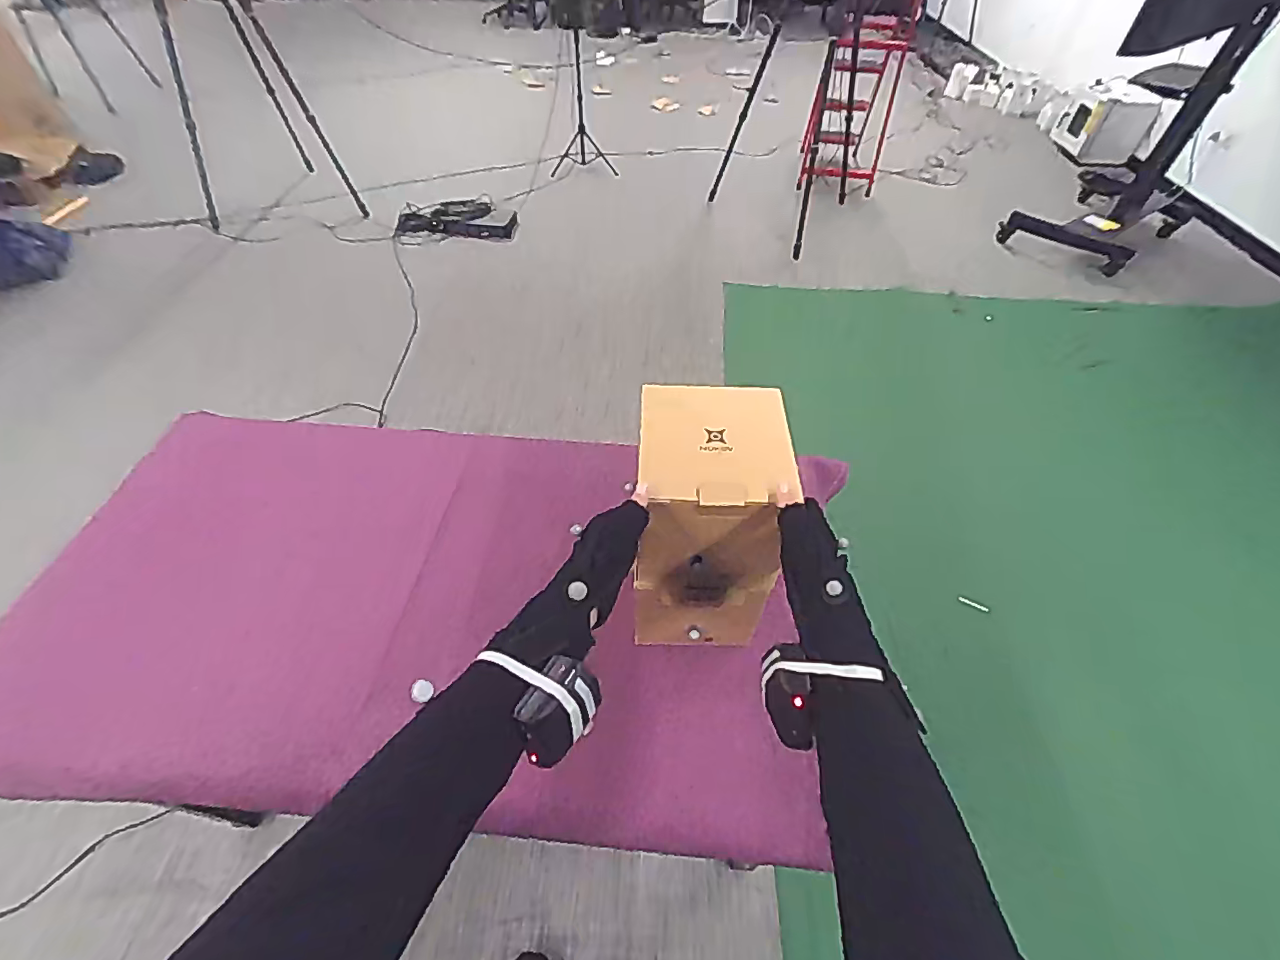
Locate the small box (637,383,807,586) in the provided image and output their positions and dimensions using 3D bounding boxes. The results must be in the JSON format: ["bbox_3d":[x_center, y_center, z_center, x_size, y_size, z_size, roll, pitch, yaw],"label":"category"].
[{"bbox_3d":[0.082,0.007,0.644,0.168,0.176,0.179,2,51,0],"label":"small box"}]

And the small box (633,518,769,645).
[{"bbox_3d":[0.076,0.114,0.766,0.168,0.176,0.179,1,50,0],"label":"small box"}]
